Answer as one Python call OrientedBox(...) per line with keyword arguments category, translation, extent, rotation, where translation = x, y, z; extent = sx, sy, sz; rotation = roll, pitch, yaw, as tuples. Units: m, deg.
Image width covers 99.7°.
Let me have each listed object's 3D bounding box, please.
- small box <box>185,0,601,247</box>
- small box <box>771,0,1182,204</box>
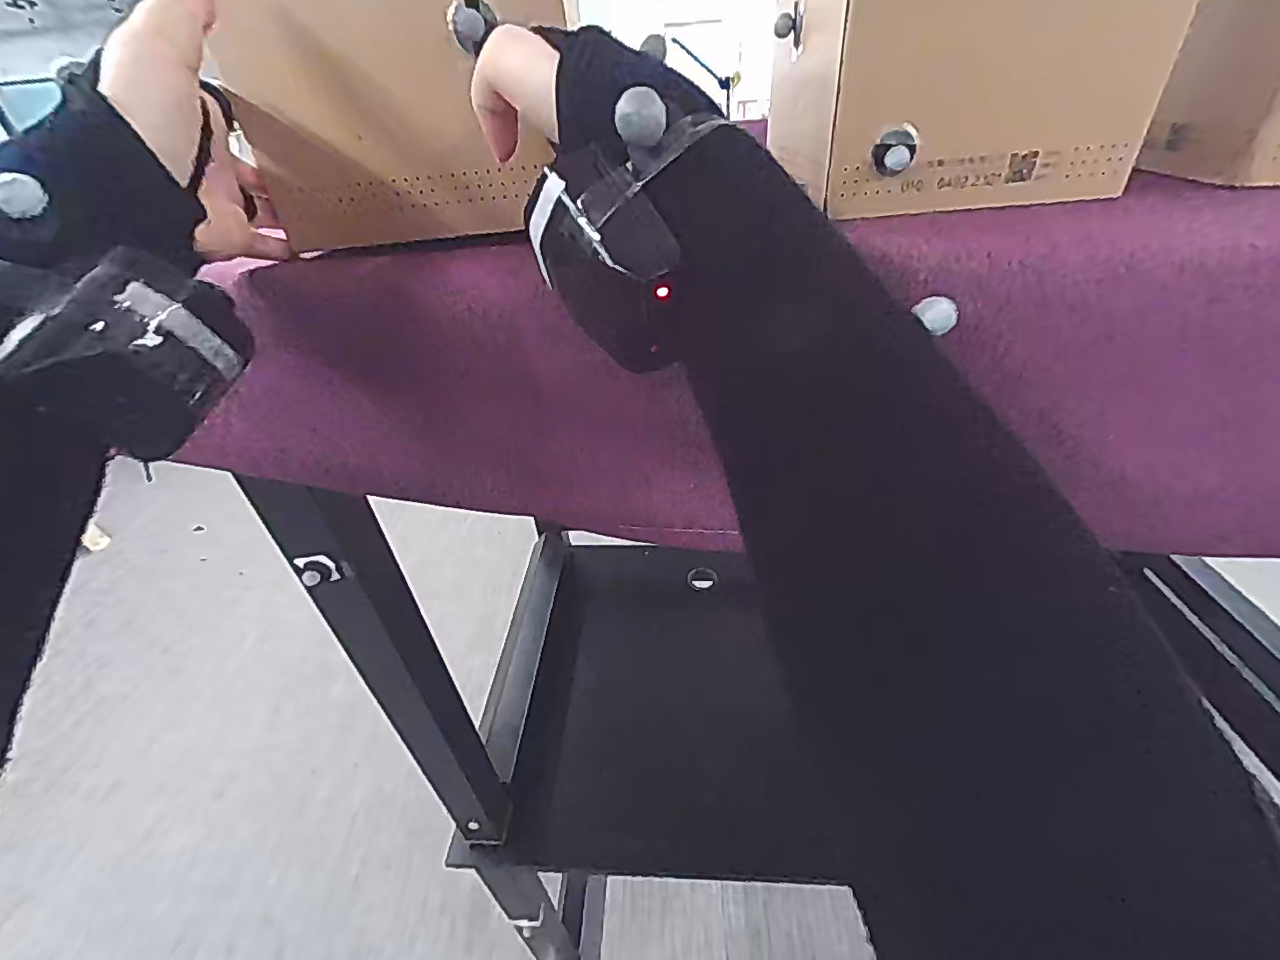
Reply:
OrientedBox(category="small box", translation=(-0.119, -0.248, 0.321), extent=(0.179, 0.176, 0.168), rotation=(-5, 33, 2))
OrientedBox(category="small box", translation=(0.178, -0.268, 0.320), extent=(0.168, 0.176, 0.179), rotation=(-3, 35, 2))
